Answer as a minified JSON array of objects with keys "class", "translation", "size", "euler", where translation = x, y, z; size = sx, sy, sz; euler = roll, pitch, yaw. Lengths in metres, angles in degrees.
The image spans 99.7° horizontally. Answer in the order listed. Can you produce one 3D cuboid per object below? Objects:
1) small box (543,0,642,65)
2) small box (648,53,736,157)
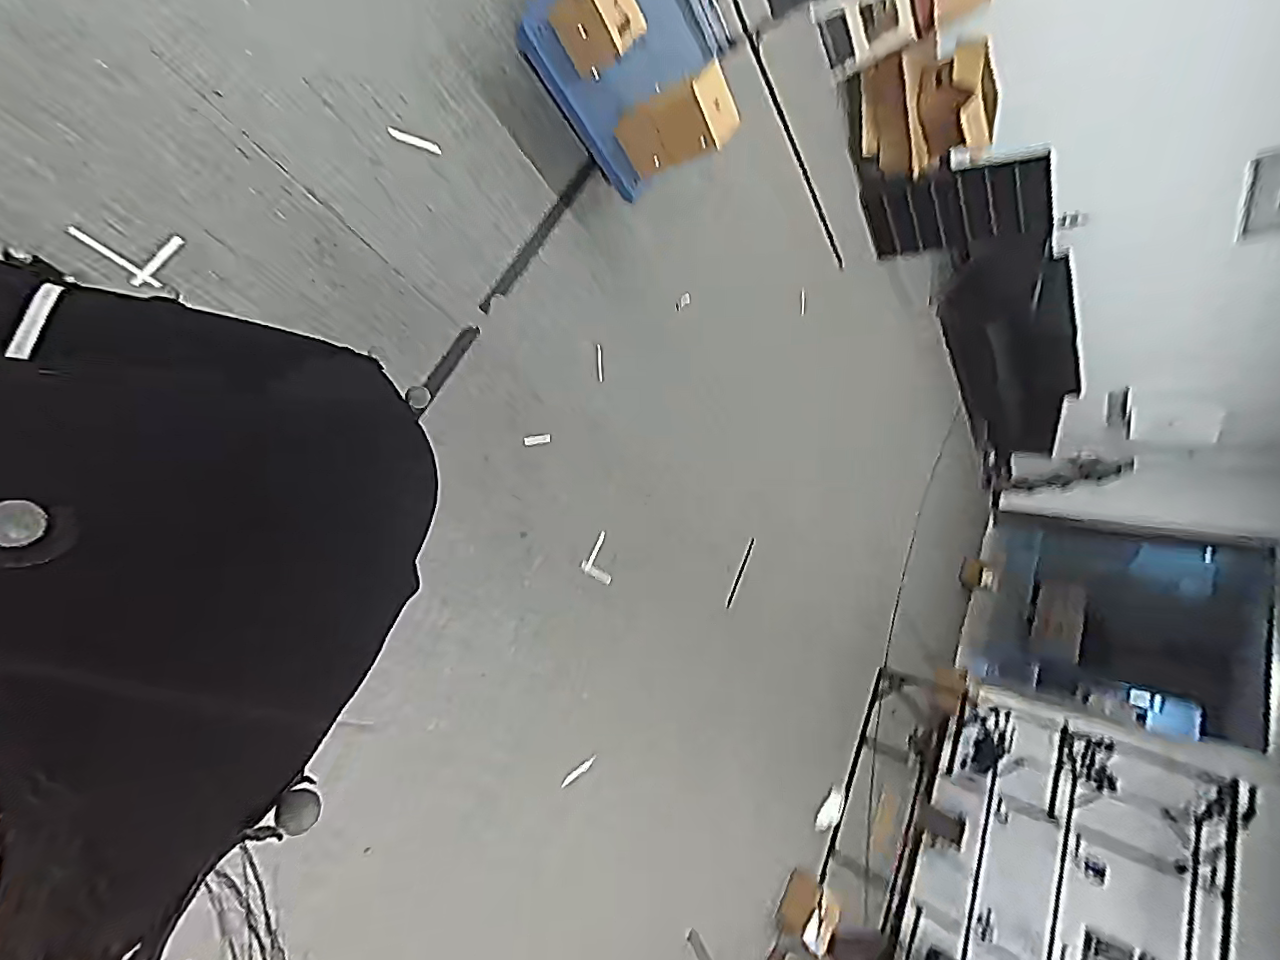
[{"class":"small box","translation":[-0.134,-1.313,1.517],"size":[0.179,0.176,0.168],"euler":[48,62,-38]},{"class":"small box","translation":[0.153,-1.108,1.610],"size":[0.179,0.176,0.168],"euler":[51,60,-39]}]
